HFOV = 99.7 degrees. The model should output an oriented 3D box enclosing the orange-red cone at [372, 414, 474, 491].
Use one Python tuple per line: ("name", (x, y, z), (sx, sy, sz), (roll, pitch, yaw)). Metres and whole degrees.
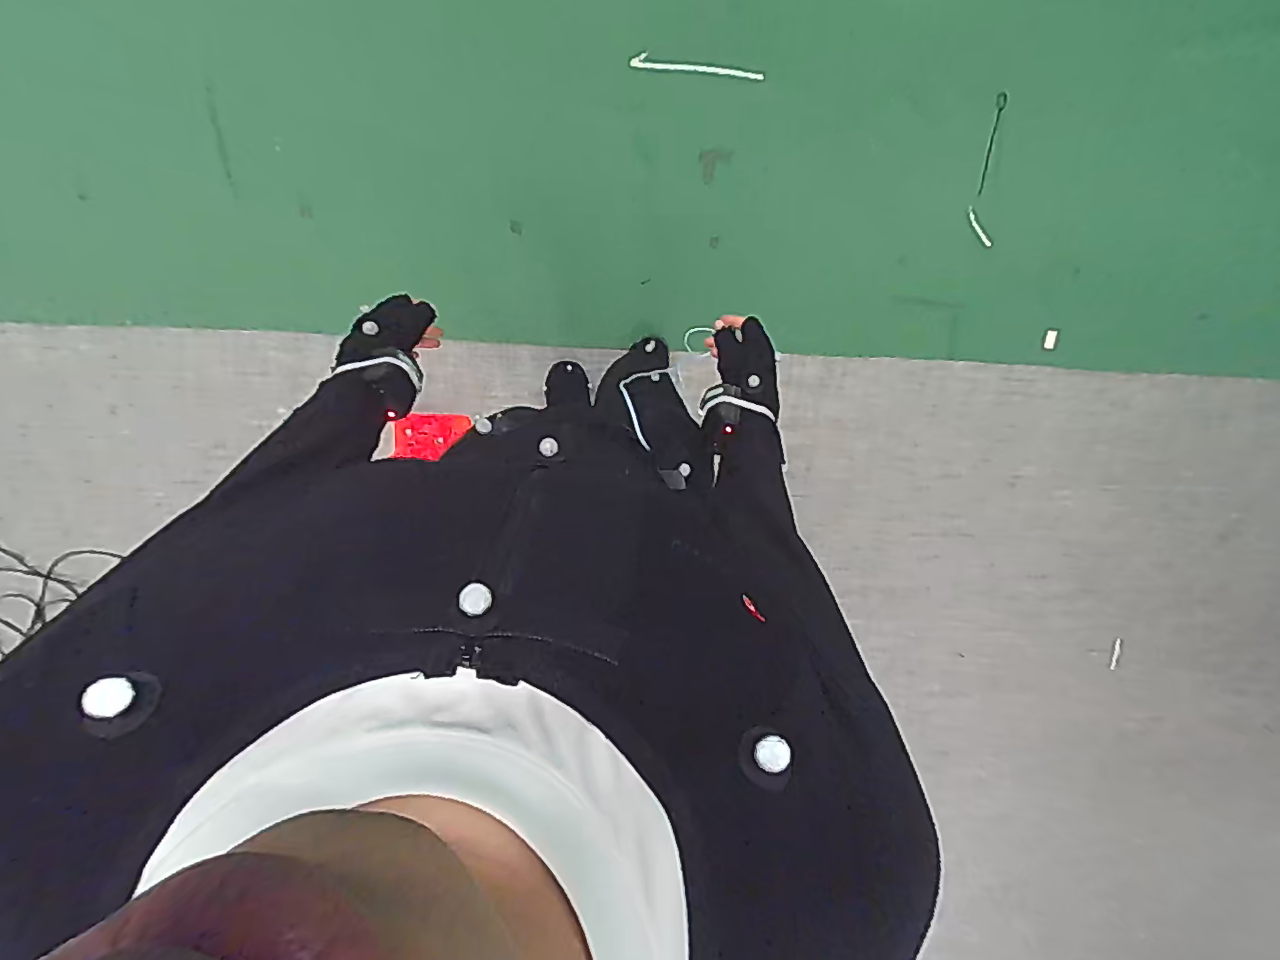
("orange-red cone", (-0.530, -0.033, 1.261), (0.198, 0.360, 0.199), (2, 103, -3))
